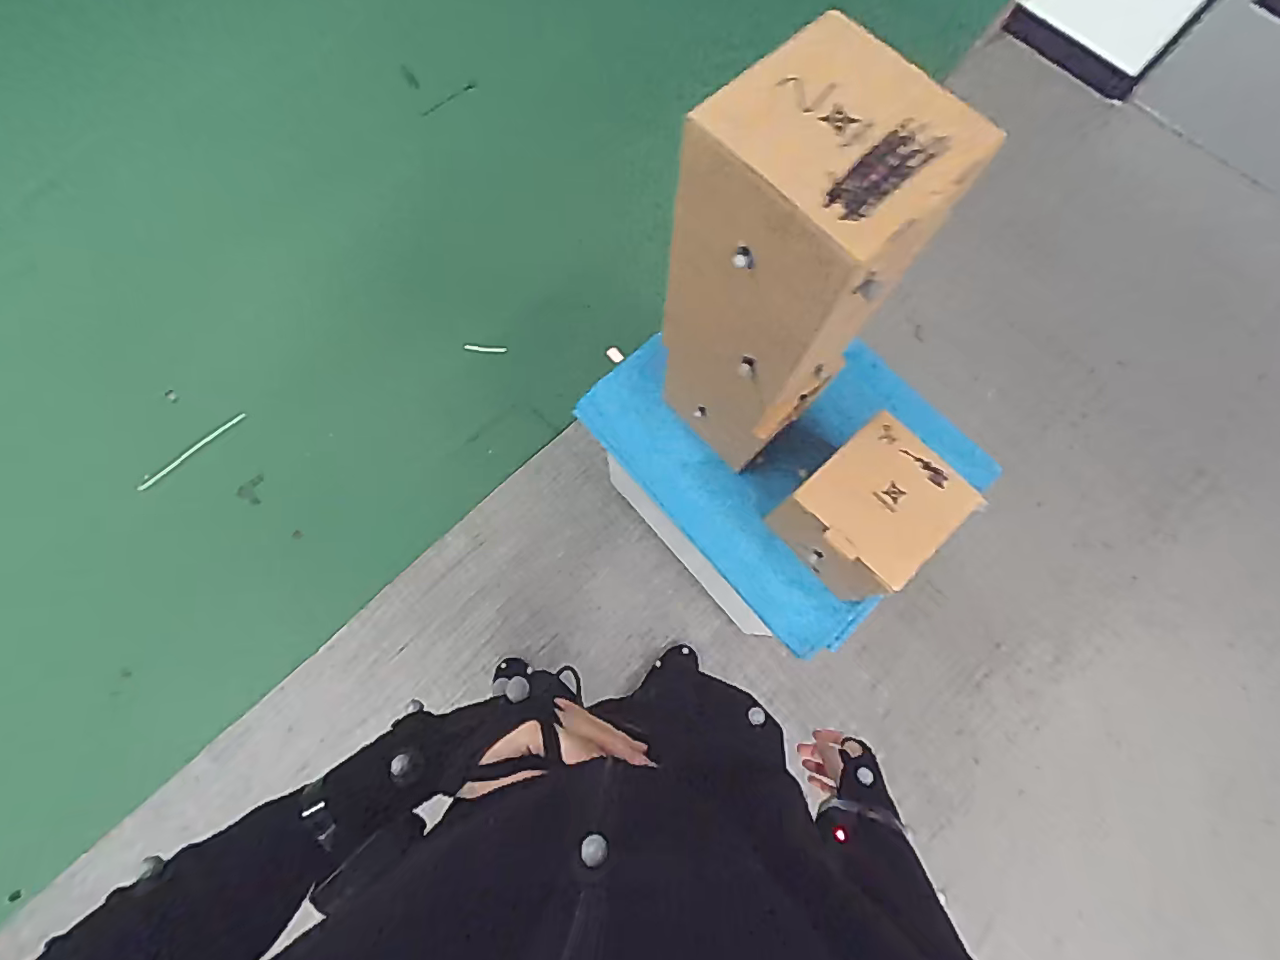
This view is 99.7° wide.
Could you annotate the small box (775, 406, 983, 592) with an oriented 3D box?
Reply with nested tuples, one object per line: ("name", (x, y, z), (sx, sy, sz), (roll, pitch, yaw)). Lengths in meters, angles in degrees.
("small box", (0.306, 0.037, 0.740), (0.179, 0.176, 0.168), (-41, 79, -11))

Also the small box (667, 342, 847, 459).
("small box", (0.157, -0.149, 0.788), (0.168, 0.176, 0.179), (-41, 79, -12))

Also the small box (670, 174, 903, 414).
("small box", (0.153, -0.198, 0.631), (0.168, 0.176, 0.179), (-41, 79, -12))
